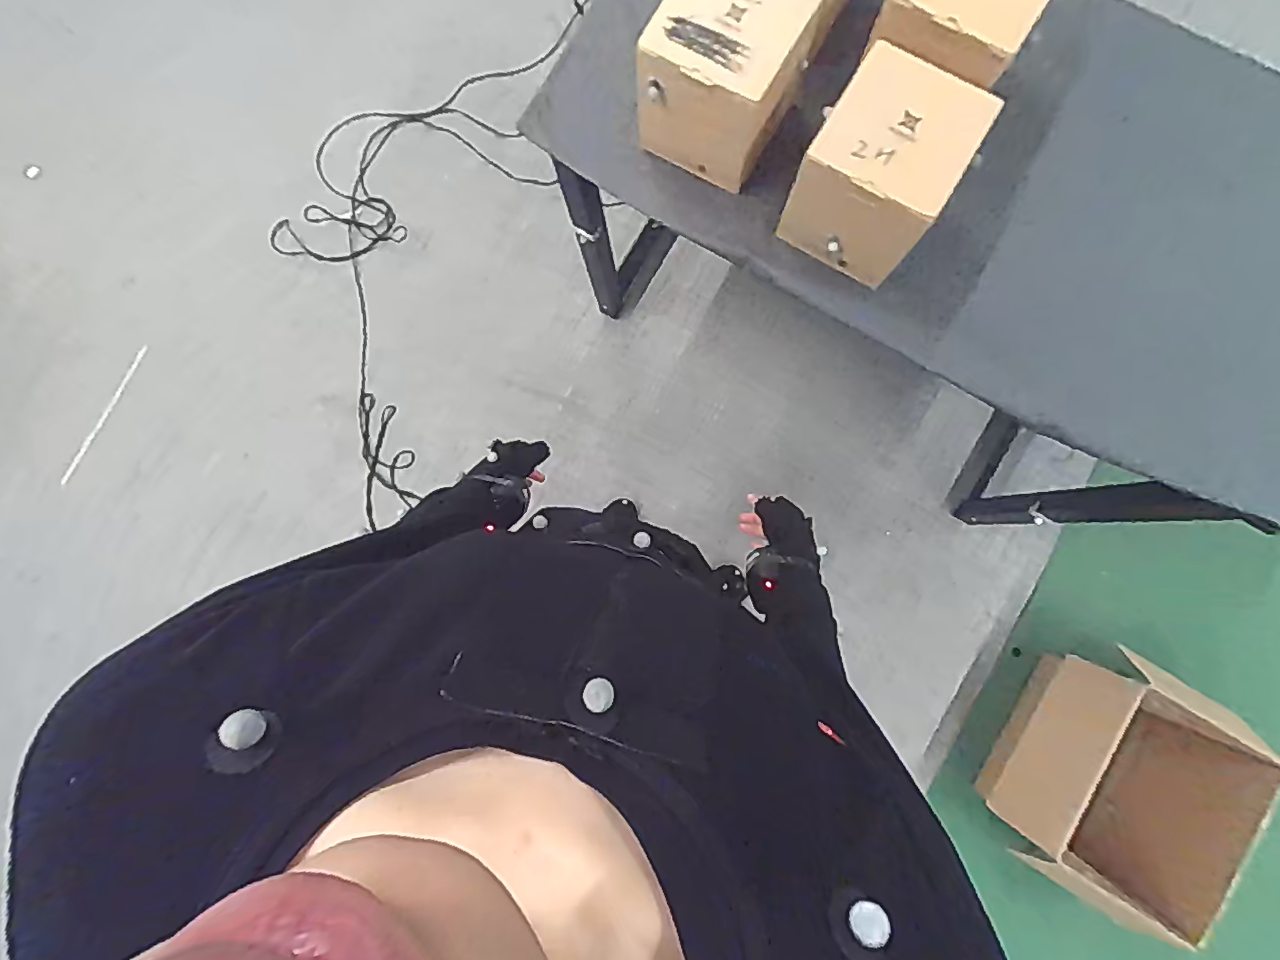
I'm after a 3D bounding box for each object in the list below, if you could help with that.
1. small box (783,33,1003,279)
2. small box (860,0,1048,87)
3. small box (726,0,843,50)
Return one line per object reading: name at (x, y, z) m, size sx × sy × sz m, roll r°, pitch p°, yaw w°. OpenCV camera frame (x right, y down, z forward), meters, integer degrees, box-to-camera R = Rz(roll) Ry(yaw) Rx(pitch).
small box at (0.307, -0.401, 0.699) m, size 0.168 × 0.176 × 0.179 m, roll 31°, pitch 86°, yaw 5°
small box at (0.414, -0.604, 0.715) m, size 0.168 × 0.176 × 0.179 m, roll 32°, pitch 88°, yaw 4°
small box at (0.222, -0.747, 0.733) m, size 0.168 × 0.176 × 0.179 m, roll 29°, pitch 87°, yaw 4°
